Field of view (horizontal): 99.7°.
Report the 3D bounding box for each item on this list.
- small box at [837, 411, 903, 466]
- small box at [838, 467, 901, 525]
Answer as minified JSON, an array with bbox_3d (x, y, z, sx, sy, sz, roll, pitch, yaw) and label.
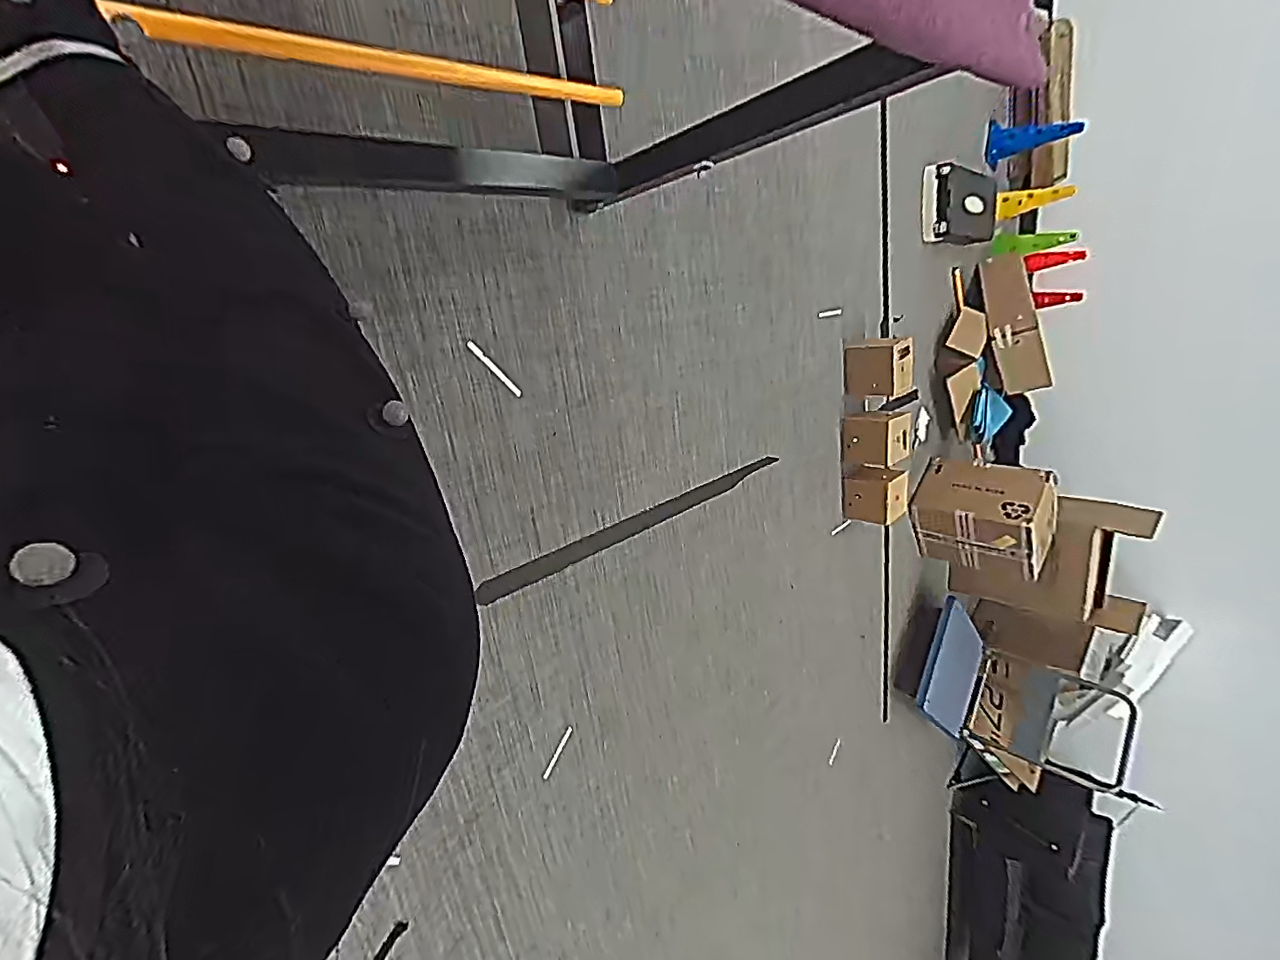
[{"bbox_3d":[0.849,-0.158,2.000,0.179,0.176,0.168,-19,111,-40],"label":"small box"},{"bbox_3d":[0.878,0.055,2.074,0.179,0.176,0.168,-22,113,-40],"label":"small box"}]
